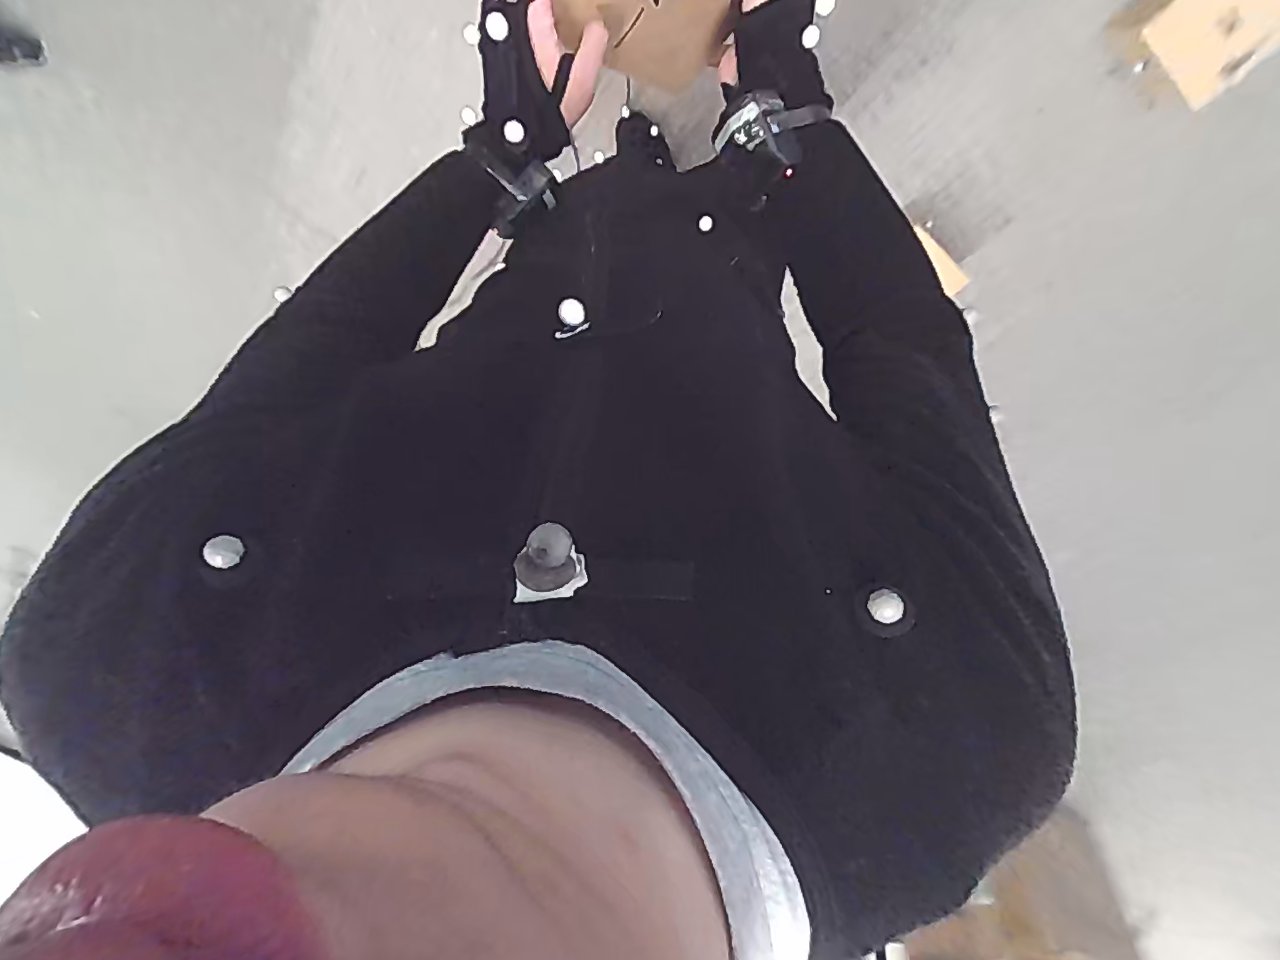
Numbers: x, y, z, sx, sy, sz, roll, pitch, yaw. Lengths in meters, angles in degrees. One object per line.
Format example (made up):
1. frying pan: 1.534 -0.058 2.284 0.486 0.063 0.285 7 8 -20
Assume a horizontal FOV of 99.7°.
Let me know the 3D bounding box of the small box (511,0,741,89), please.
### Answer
1. small box: -0.004 -0.461 0.410 0.168 0.176 0.179 -4 173 -32

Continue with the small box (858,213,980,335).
1. small box: 0.611 -0.467 1.209 0.179 0.176 0.168 35 131 -14

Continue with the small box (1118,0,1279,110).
1. small box: 0.937 -0.744 0.876 0.179 0.176 0.168 38 130 -13
